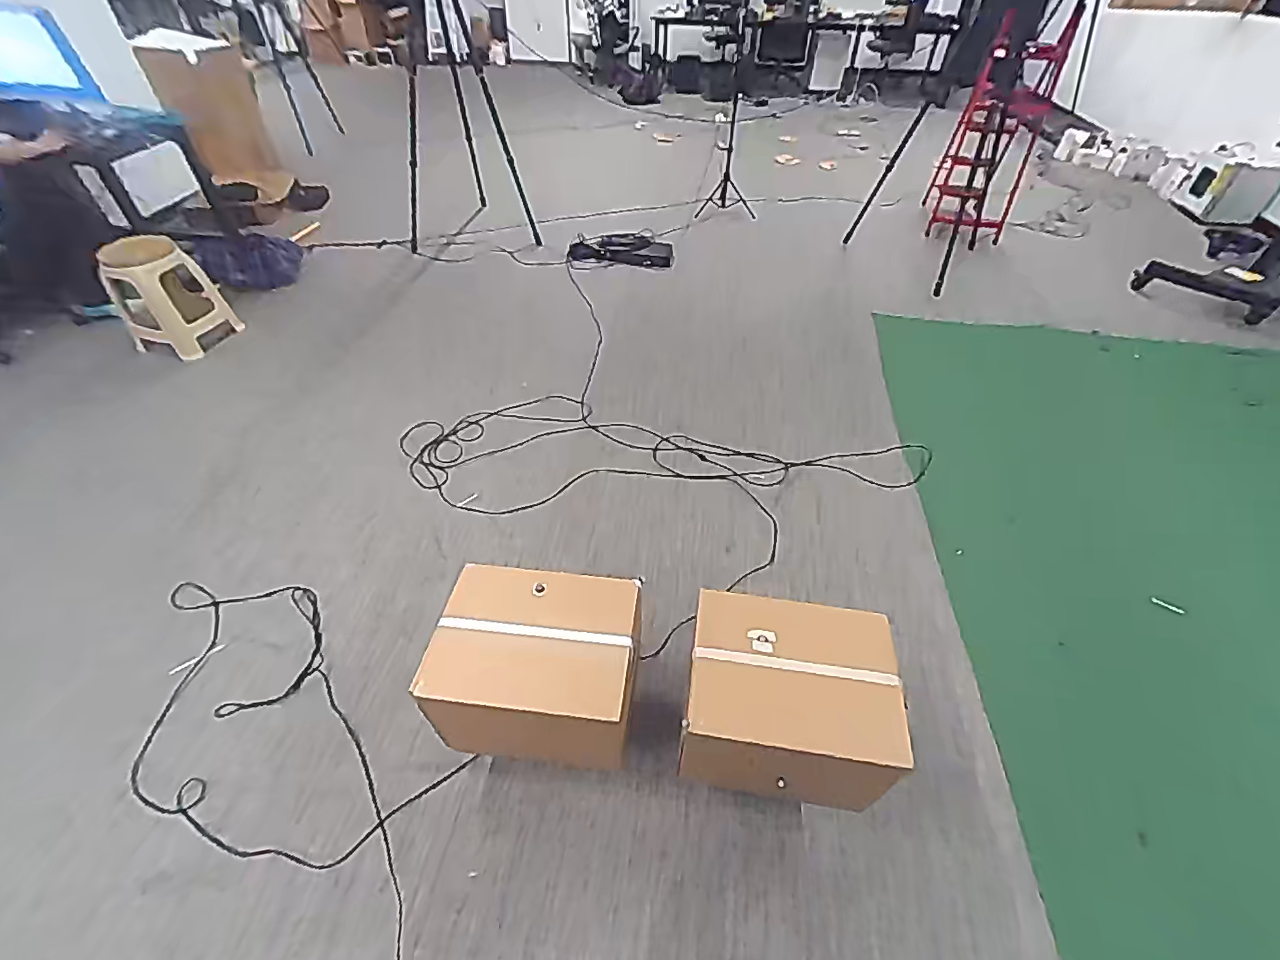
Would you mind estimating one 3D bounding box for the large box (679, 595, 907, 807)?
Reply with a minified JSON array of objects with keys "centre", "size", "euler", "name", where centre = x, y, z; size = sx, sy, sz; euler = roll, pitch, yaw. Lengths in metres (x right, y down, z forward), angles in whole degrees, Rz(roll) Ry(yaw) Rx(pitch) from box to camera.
[{"centre":[0.307,0.488,1.195],"size":[0.408,0.320,0.320],"euler":[7,46,6],"name":"large box"}]
